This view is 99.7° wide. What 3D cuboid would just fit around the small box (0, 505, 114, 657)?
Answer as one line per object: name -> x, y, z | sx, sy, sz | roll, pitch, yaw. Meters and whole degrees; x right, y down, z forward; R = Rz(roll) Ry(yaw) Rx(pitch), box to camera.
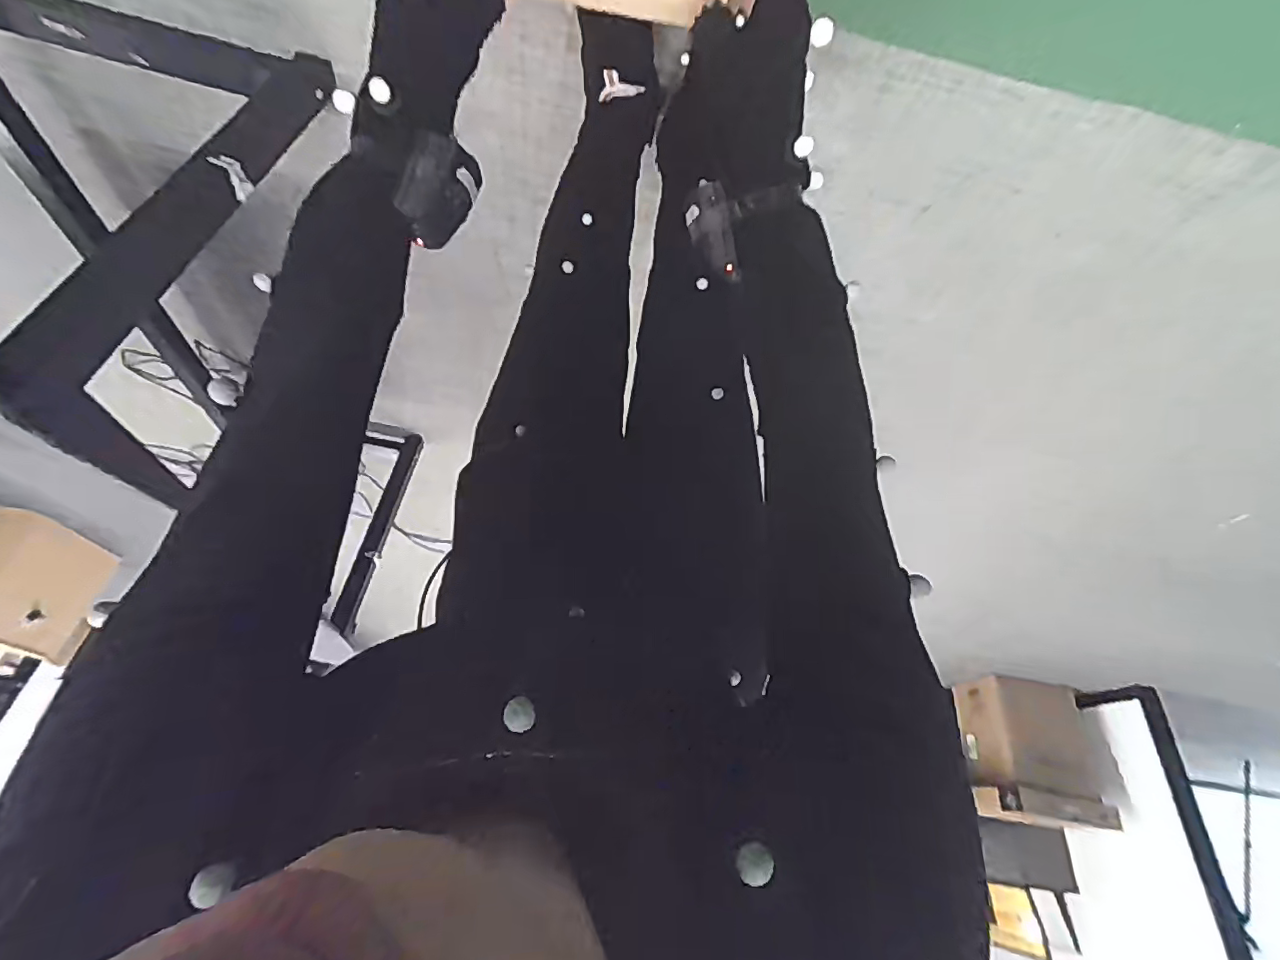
small box -> -0.933, 0.139, 0.774 | 0.168, 0.176, 0.179 | 11, 149, -4
